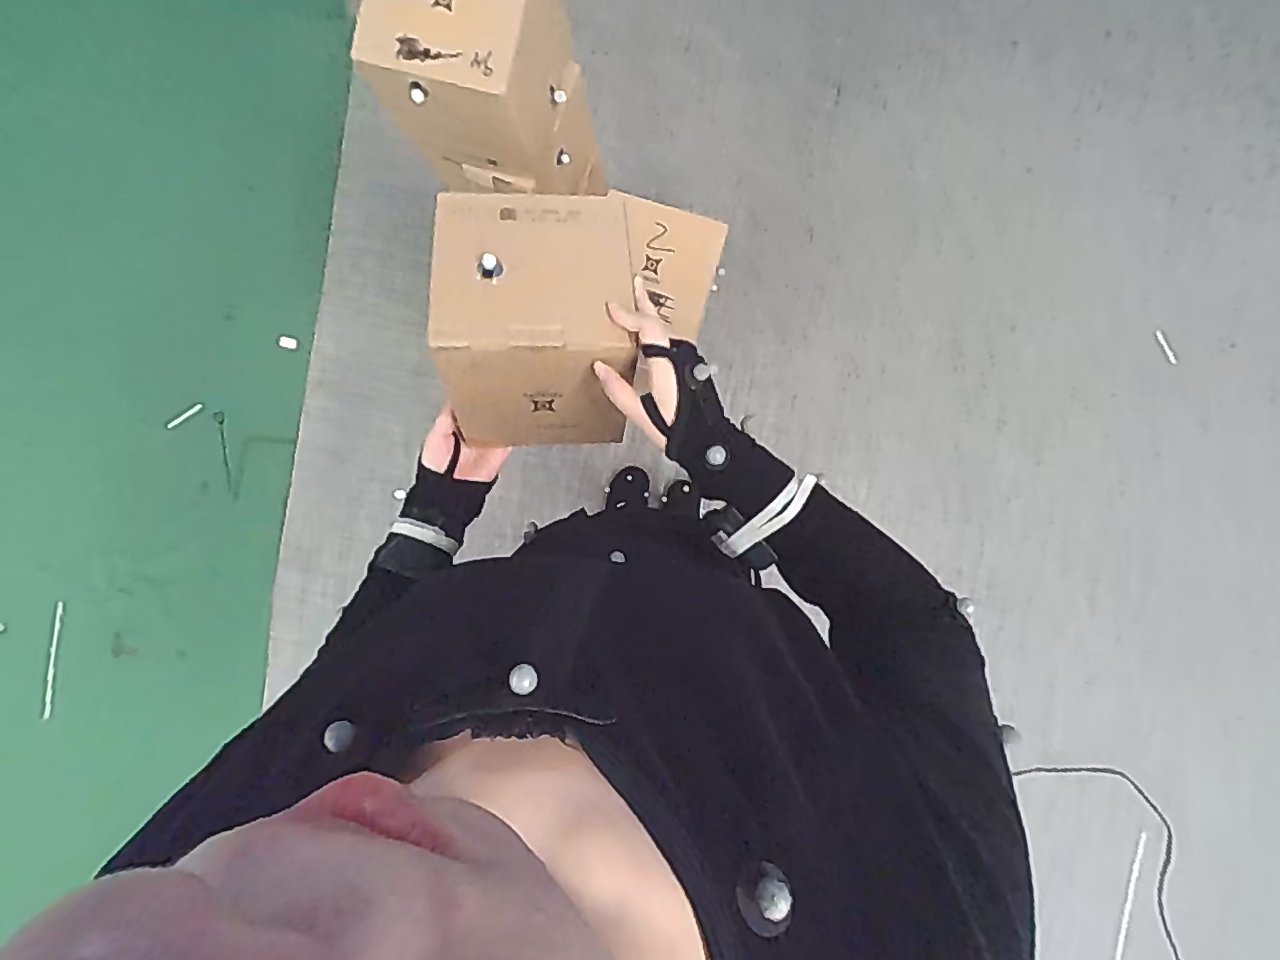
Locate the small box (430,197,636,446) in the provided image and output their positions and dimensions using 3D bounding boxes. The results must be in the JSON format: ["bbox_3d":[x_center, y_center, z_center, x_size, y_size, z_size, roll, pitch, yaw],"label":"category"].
[{"bbox_3d":[-0.102,-0.148,0.531,0.168,0.179,0.176,-2,69,-8],"label":"small box"}]

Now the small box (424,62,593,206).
[{"bbox_3d":[-0.177,-0.490,0.789,0.168,0.176,0.179,23,92,2],"label":"small box"}]

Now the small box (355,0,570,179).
[{"bbox_3d":[-0.186,-0.492,0.625,0.168,0.176,0.179,16,92,3],"label":"small box"}]

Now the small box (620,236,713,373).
[{"bbox_3d":[0.026,-0.297,0.952,0.168,0.176,0.179,12,93,2],"label":"small box"}]

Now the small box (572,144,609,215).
[{"bbox_3d":[-0.167,-0.493,0.954,0.179,0.176,0.168,21,93,1],"label":"small box"}]
